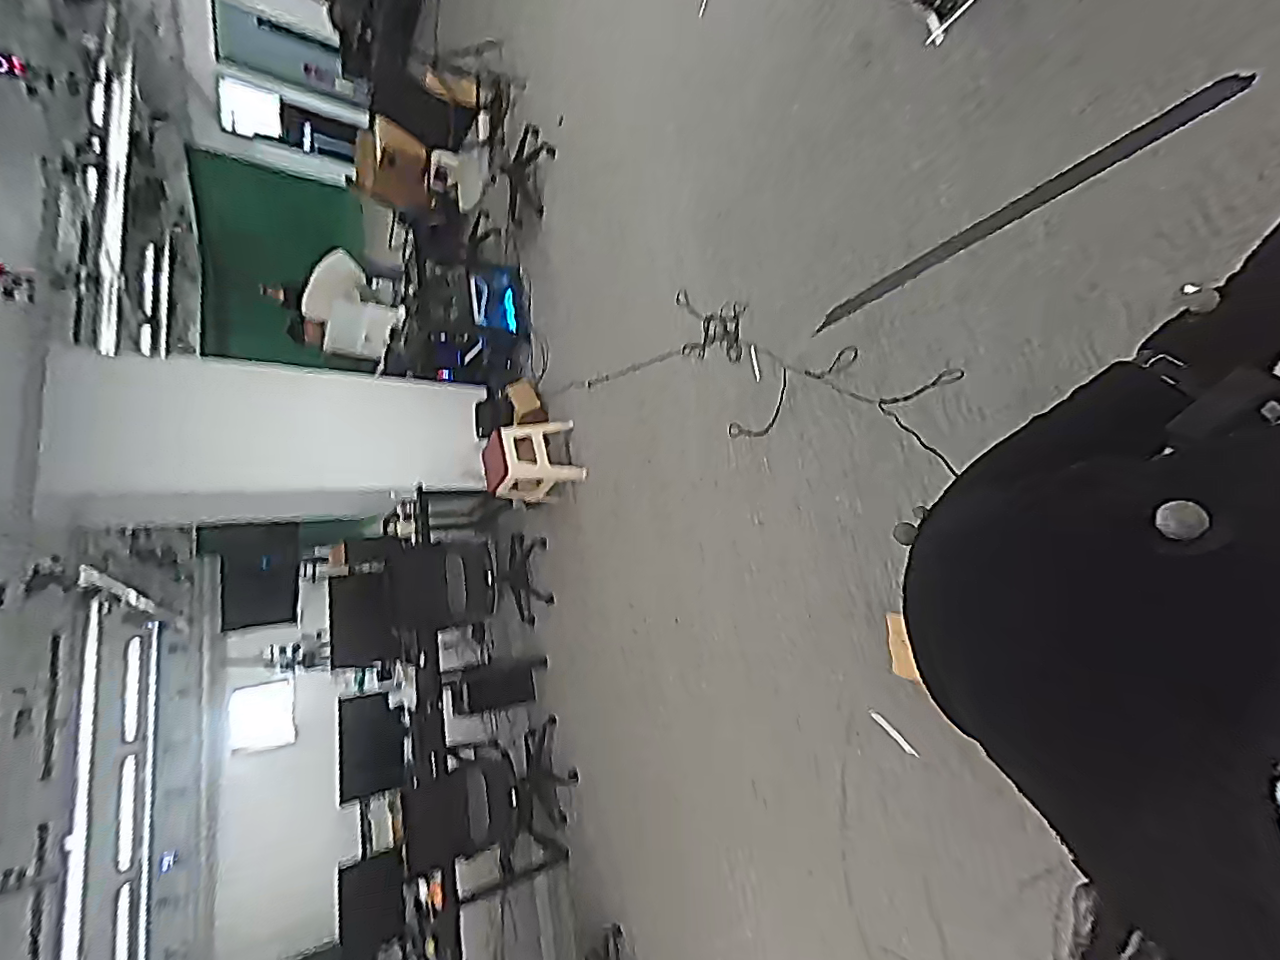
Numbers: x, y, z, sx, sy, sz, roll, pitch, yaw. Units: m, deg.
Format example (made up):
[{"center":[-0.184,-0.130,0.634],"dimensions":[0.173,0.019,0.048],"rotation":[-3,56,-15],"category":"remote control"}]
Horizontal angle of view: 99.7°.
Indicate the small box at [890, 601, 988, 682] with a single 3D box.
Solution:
[{"center":[0.796,0.420,1.435],"dimensions":[0.179,0.176,0.168],"rotation":[-10,82,55],"category":"small box"}]
